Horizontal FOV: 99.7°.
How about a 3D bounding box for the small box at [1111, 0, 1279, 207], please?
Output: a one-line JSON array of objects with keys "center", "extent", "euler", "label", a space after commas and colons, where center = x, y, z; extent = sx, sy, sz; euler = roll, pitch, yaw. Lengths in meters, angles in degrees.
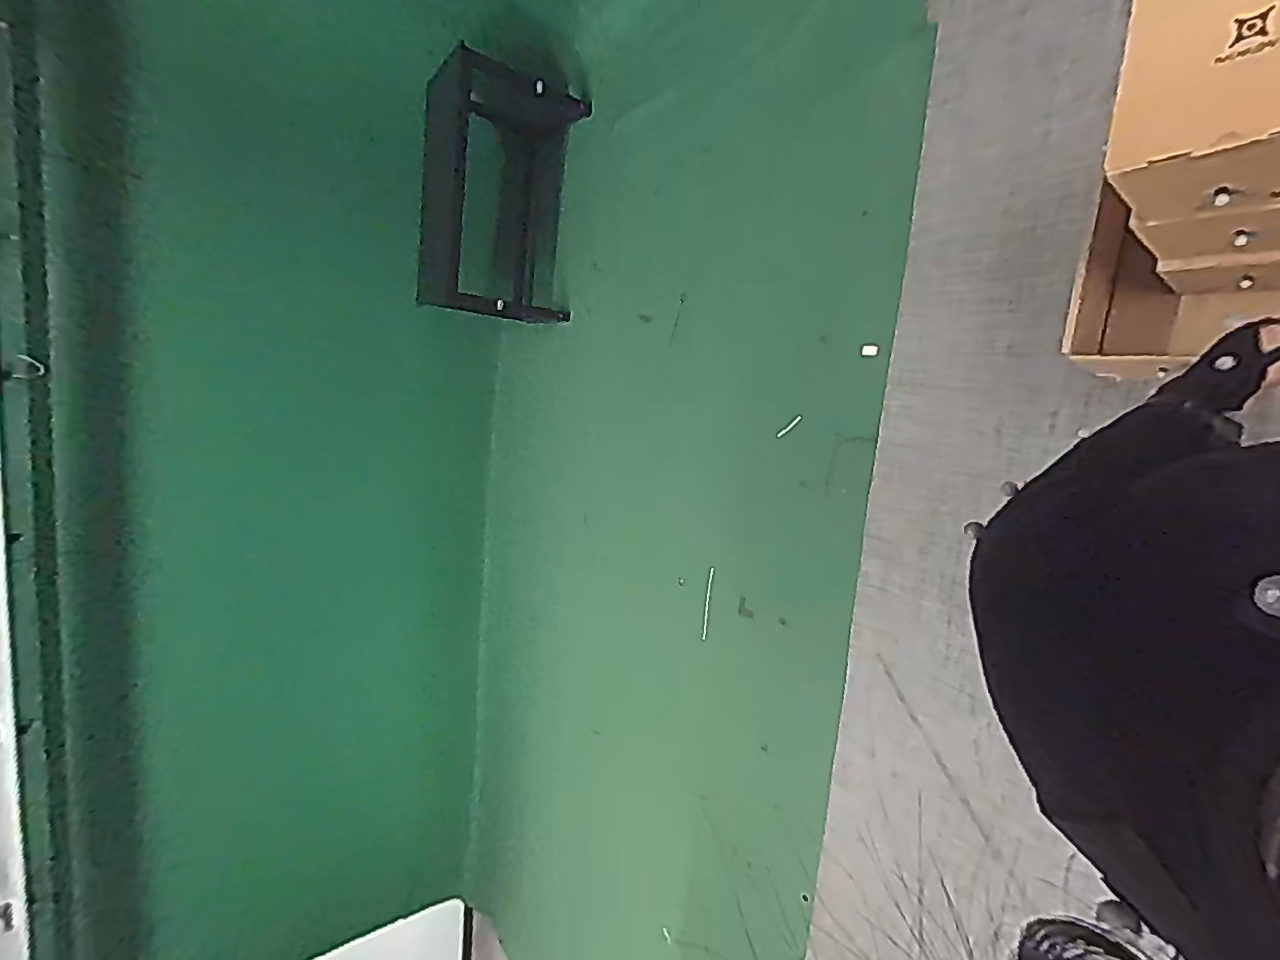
[{"center": [0.562, -0.376, 0.484], "extent": [0.168, 0.176, 0.179], "euler": [13, 102, 53], "label": "small box"}]
